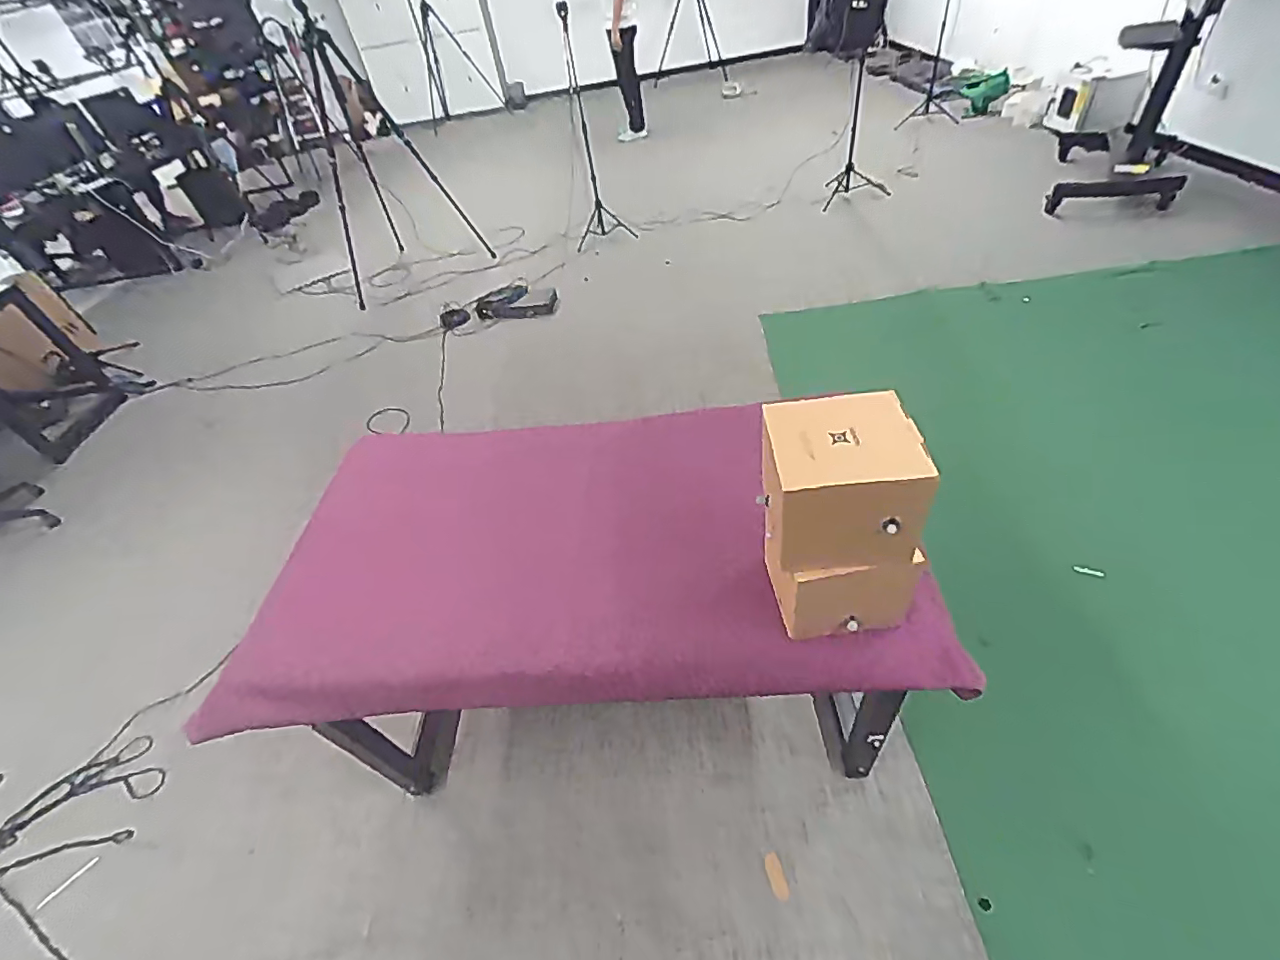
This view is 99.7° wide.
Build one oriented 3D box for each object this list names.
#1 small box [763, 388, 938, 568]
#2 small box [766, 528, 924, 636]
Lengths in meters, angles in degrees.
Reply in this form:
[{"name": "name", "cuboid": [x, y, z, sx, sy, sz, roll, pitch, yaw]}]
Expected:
[{"name": "small box", "cuboid": [0.262, 0.001, 0.723, 0.179, 0.176, 0.168, -6, 45, 8]}, {"name": "small box", "cuboid": [0.298, 0.120, 0.831, 0.179, 0.176, 0.168, -9, 45, 3]}]
